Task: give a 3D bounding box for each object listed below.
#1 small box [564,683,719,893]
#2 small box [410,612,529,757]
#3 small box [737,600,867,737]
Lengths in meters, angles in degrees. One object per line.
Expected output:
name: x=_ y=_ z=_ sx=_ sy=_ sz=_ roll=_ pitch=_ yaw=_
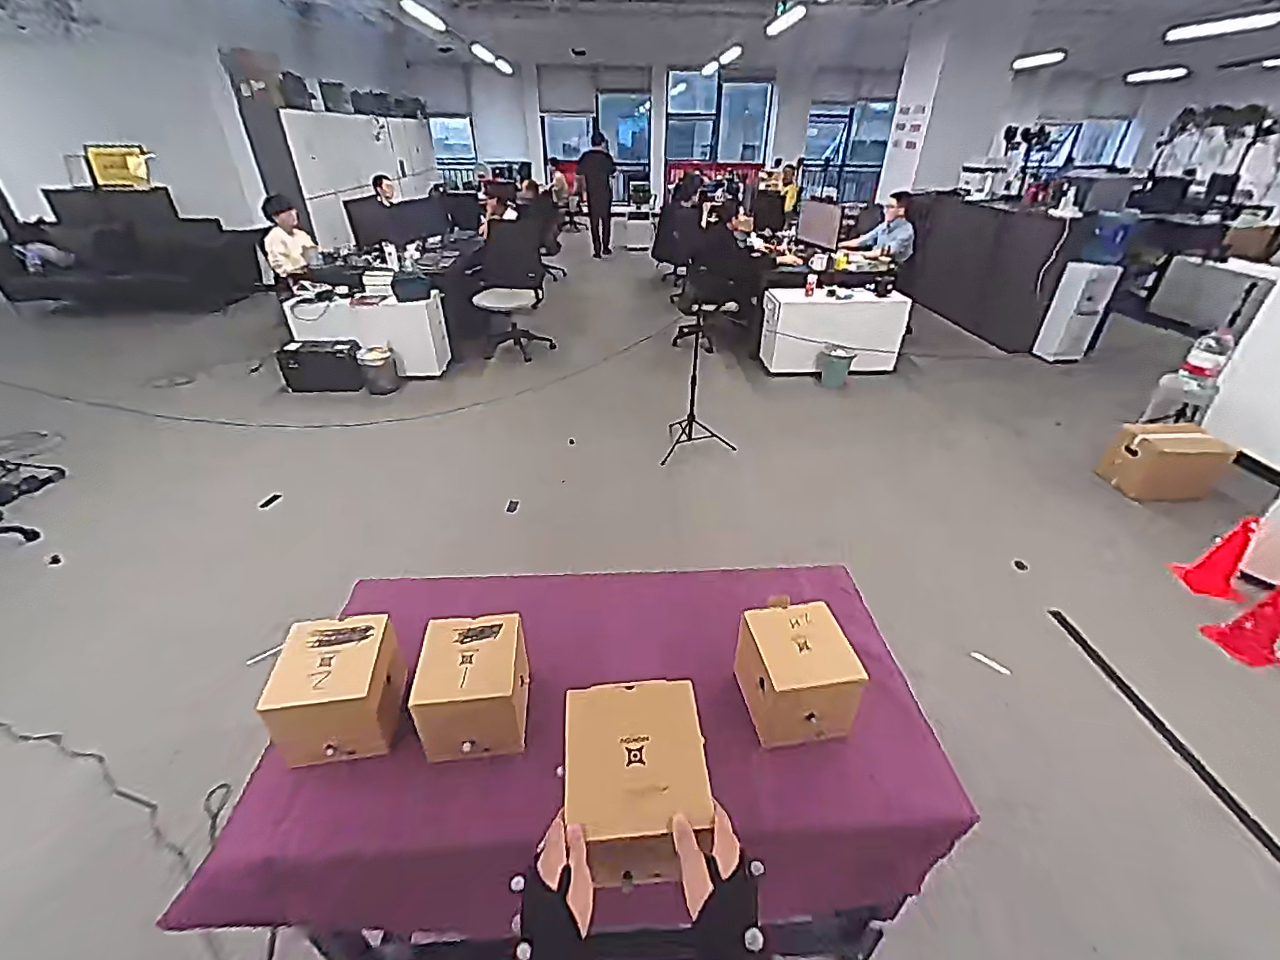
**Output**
small box: x=-0.005 y=0.381 z=0.676 sx=0.168 sy=0.176 sz=0.179 roll=-3 pitch=39 yaw=-4
small box: x=-0.294 y=0.364 z=0.972 sx=0.168 sy=0.176 sz=0.179 roll=-3 pitch=34 yaw=-5
small box: x=0.287 y=0.350 z=0.996 sx=0.168 sy=0.176 sz=0.179 roll=-5 pitch=33 yaw=-8
